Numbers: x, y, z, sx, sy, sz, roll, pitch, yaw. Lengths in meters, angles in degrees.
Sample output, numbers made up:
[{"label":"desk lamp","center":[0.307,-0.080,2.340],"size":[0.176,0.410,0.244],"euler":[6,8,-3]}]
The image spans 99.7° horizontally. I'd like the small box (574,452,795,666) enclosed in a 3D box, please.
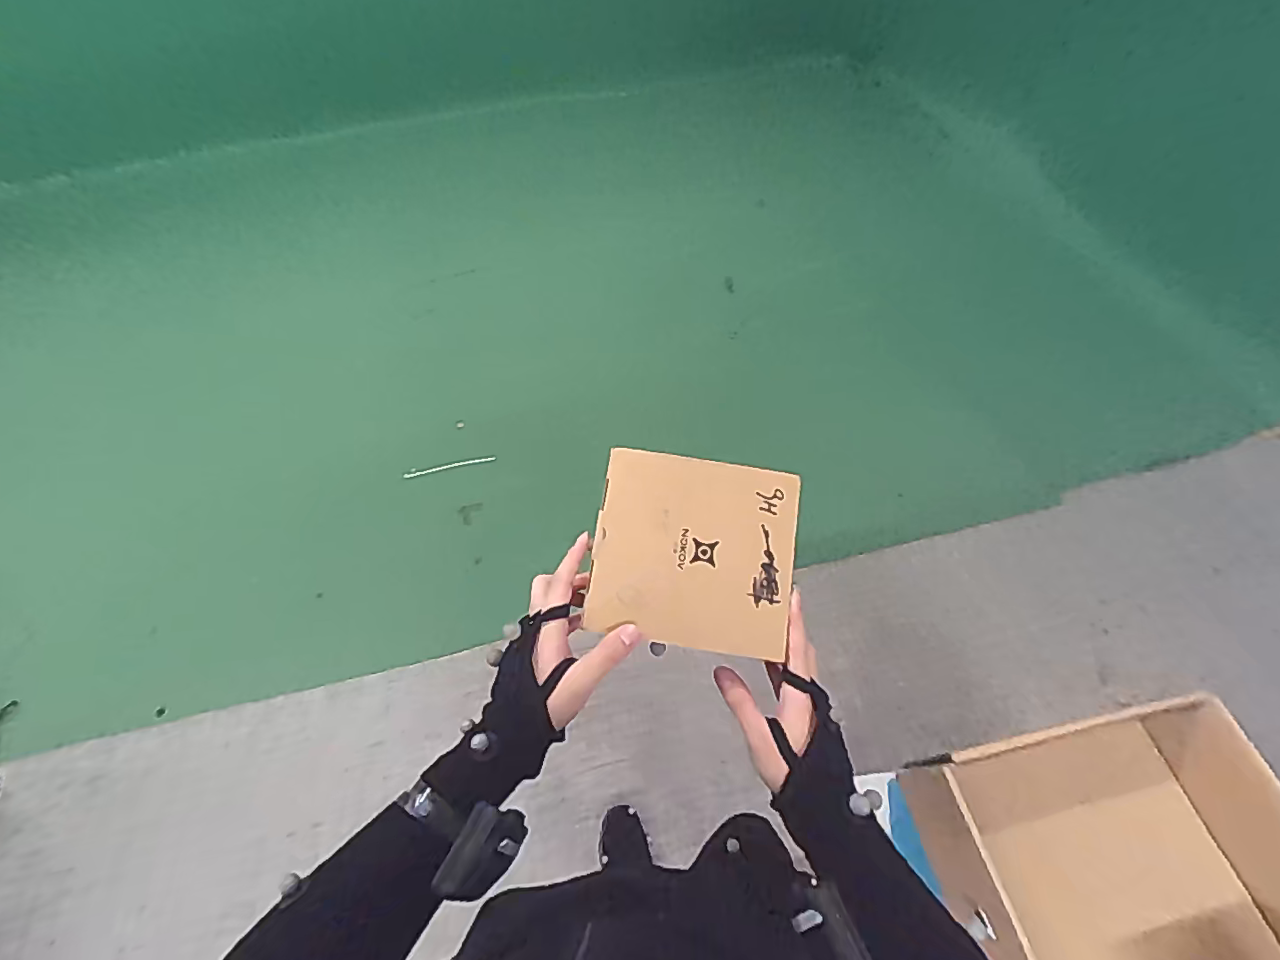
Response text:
[{"label":"small box","center":[0.042,0.085,0.547],"size":[0.179,0.176,0.168],"euler":[9,75,2]}]
